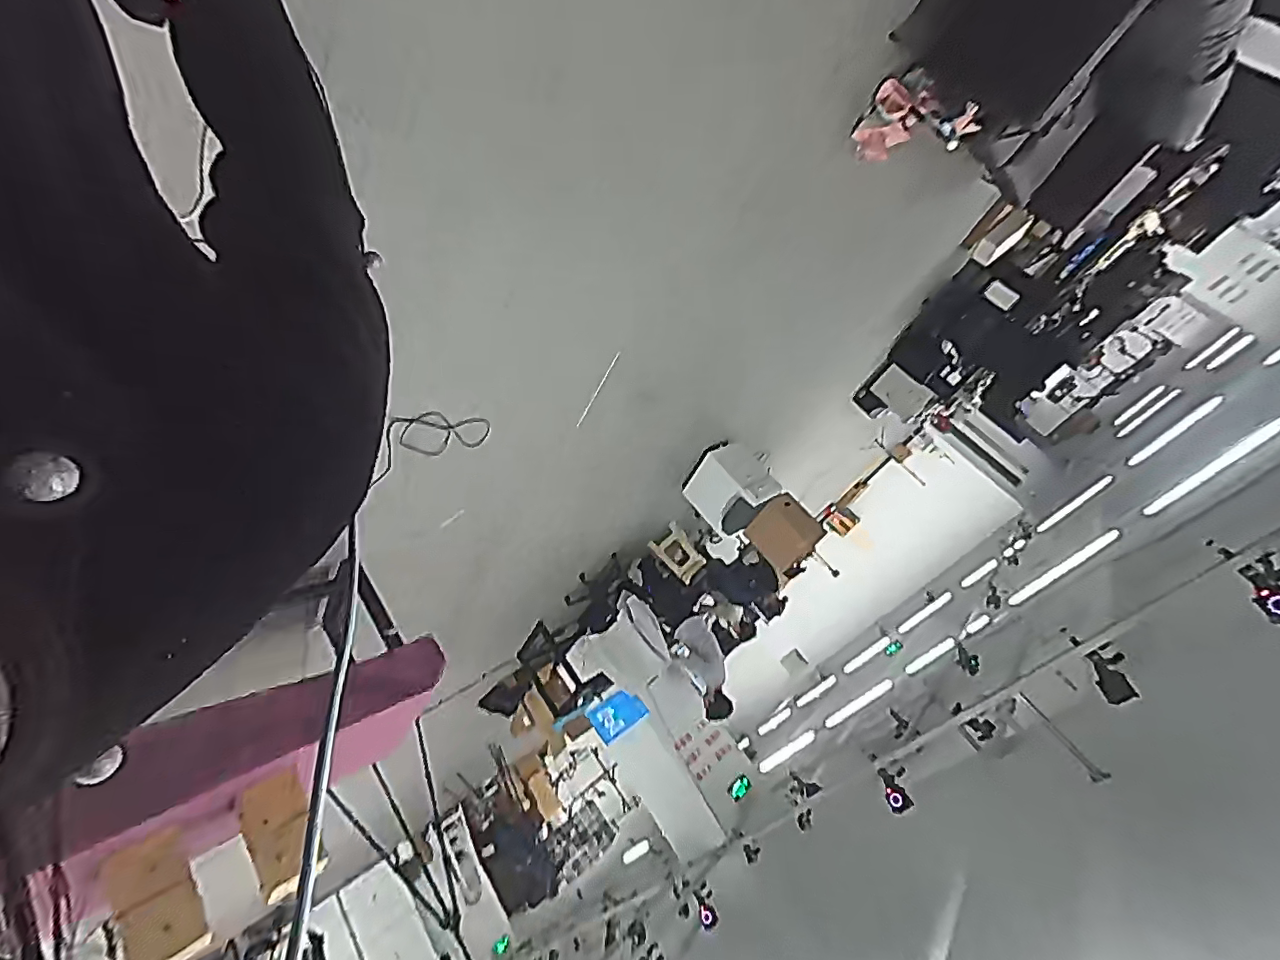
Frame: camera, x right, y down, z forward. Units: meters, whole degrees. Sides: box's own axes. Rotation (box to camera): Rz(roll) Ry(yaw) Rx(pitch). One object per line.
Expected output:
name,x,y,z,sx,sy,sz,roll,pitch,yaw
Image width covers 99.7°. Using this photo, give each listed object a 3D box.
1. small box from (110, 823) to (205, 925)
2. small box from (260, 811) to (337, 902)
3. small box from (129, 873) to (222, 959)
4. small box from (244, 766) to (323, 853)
small box,-1.433,1.170,1.609,0.179,0.176,0.168,-16,147,-48
small box,-1.138,1.243,1.797,0.168,0.176,0.179,-11,145,-48
small box,-1.332,1.284,1.547,0.179,0.176,0.168,-14,147,-48
small box,-1.230,1.127,1.863,0.179,0.176,0.168,-11,144,-49
